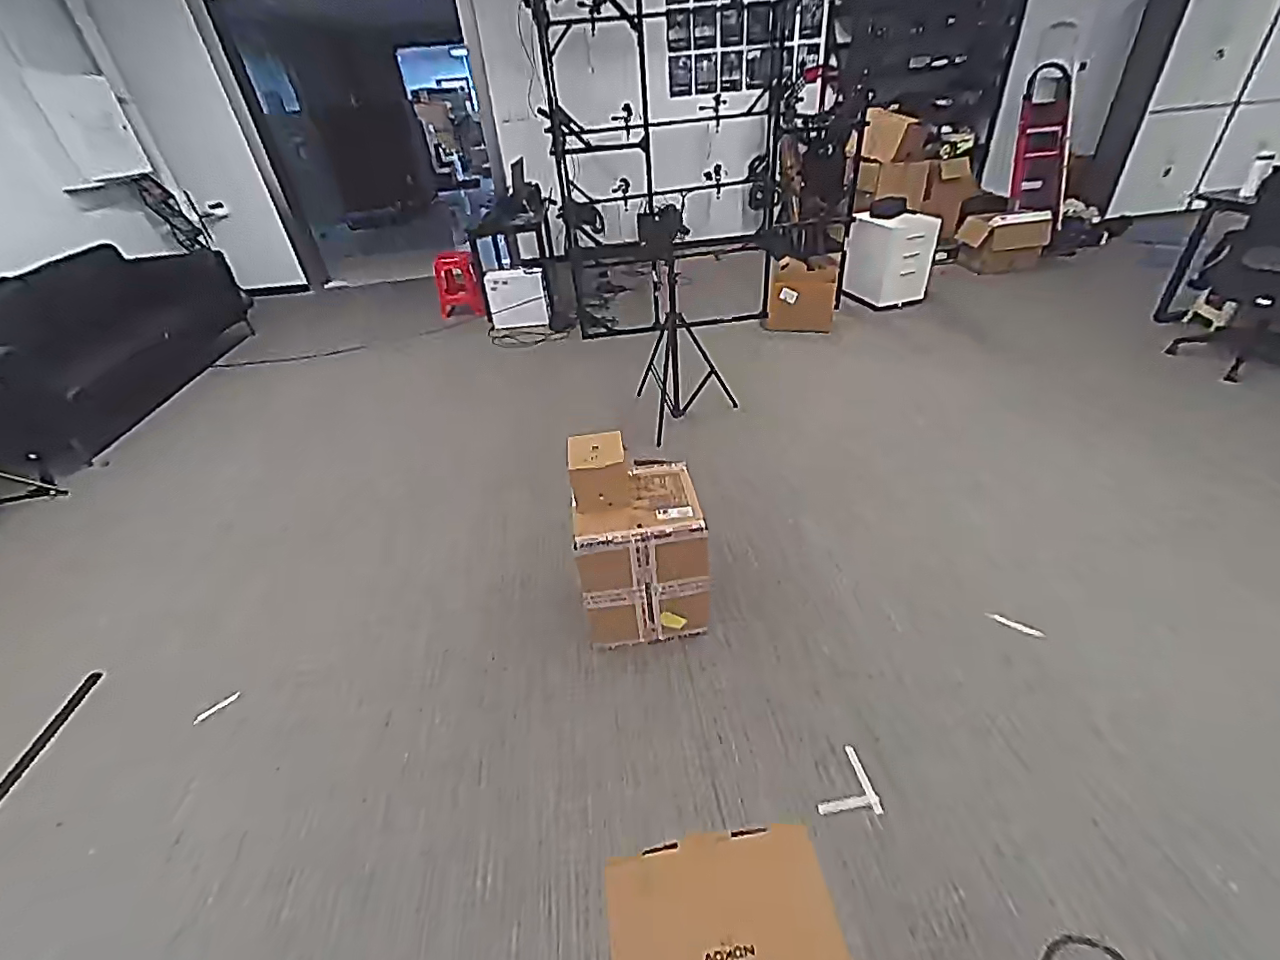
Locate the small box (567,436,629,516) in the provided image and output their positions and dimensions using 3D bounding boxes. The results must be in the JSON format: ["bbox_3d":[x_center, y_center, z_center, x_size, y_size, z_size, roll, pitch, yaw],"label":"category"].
[{"bbox_3d":[-0.129,-0.013,1.665,0.168,0.176,0.179,-8,38,-1],"label":"small box"}]
